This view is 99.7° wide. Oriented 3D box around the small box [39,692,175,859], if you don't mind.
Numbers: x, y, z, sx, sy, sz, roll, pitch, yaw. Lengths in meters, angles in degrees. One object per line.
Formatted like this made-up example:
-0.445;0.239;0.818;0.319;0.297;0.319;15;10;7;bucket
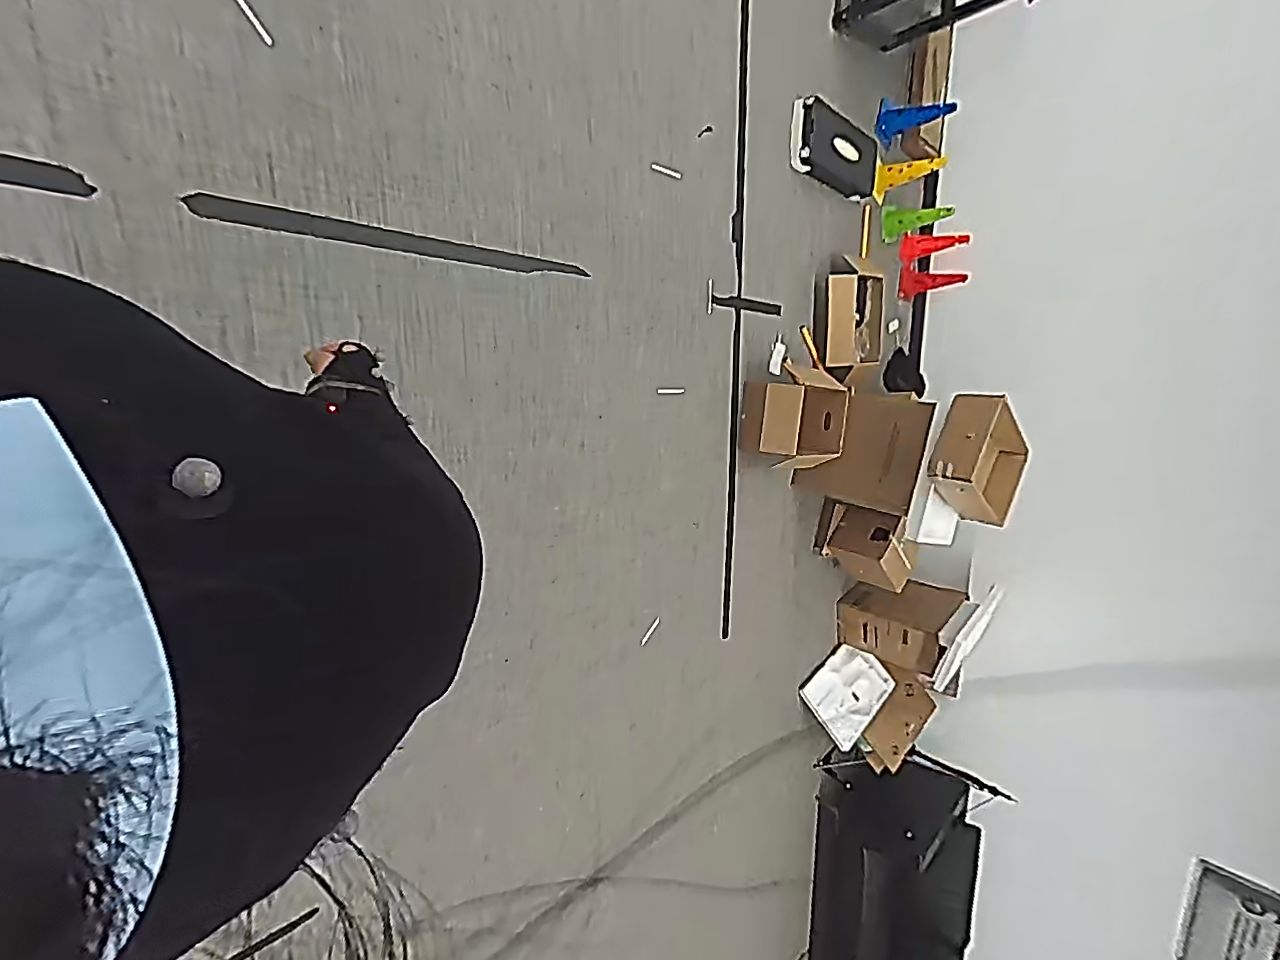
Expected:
-0.957;0.520;0.980;0.168;0.176;0.179;-3;100;-44;small box
